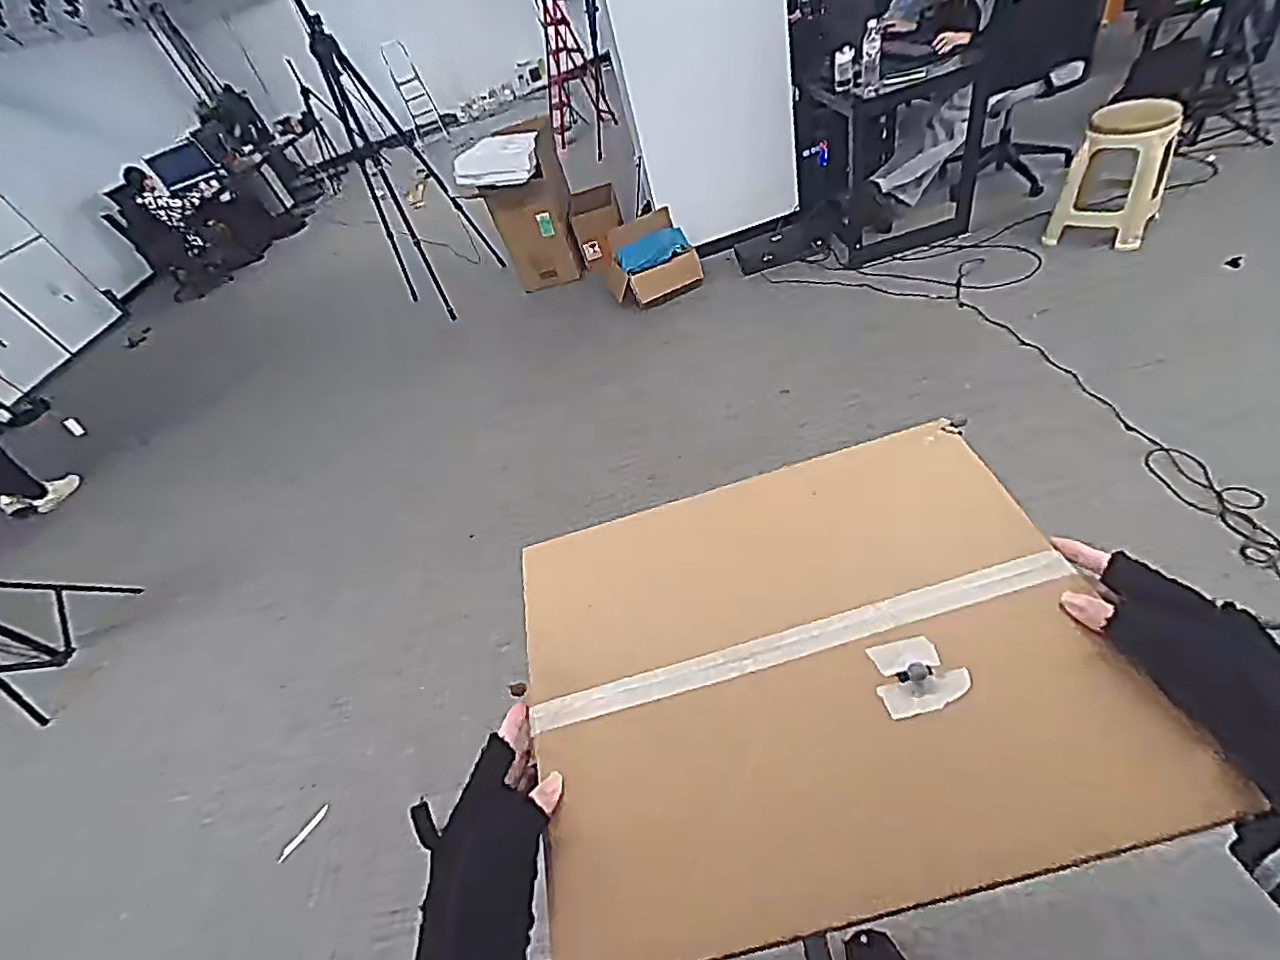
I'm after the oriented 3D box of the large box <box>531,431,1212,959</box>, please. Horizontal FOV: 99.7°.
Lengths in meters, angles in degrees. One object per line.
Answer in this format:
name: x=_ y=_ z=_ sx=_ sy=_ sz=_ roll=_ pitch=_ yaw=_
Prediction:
large box: x=0.146 y=0.215 z=0.527 sx=0.408 sy=0.320 sz=0.320 roll=-17 pitch=51 yaw=2
